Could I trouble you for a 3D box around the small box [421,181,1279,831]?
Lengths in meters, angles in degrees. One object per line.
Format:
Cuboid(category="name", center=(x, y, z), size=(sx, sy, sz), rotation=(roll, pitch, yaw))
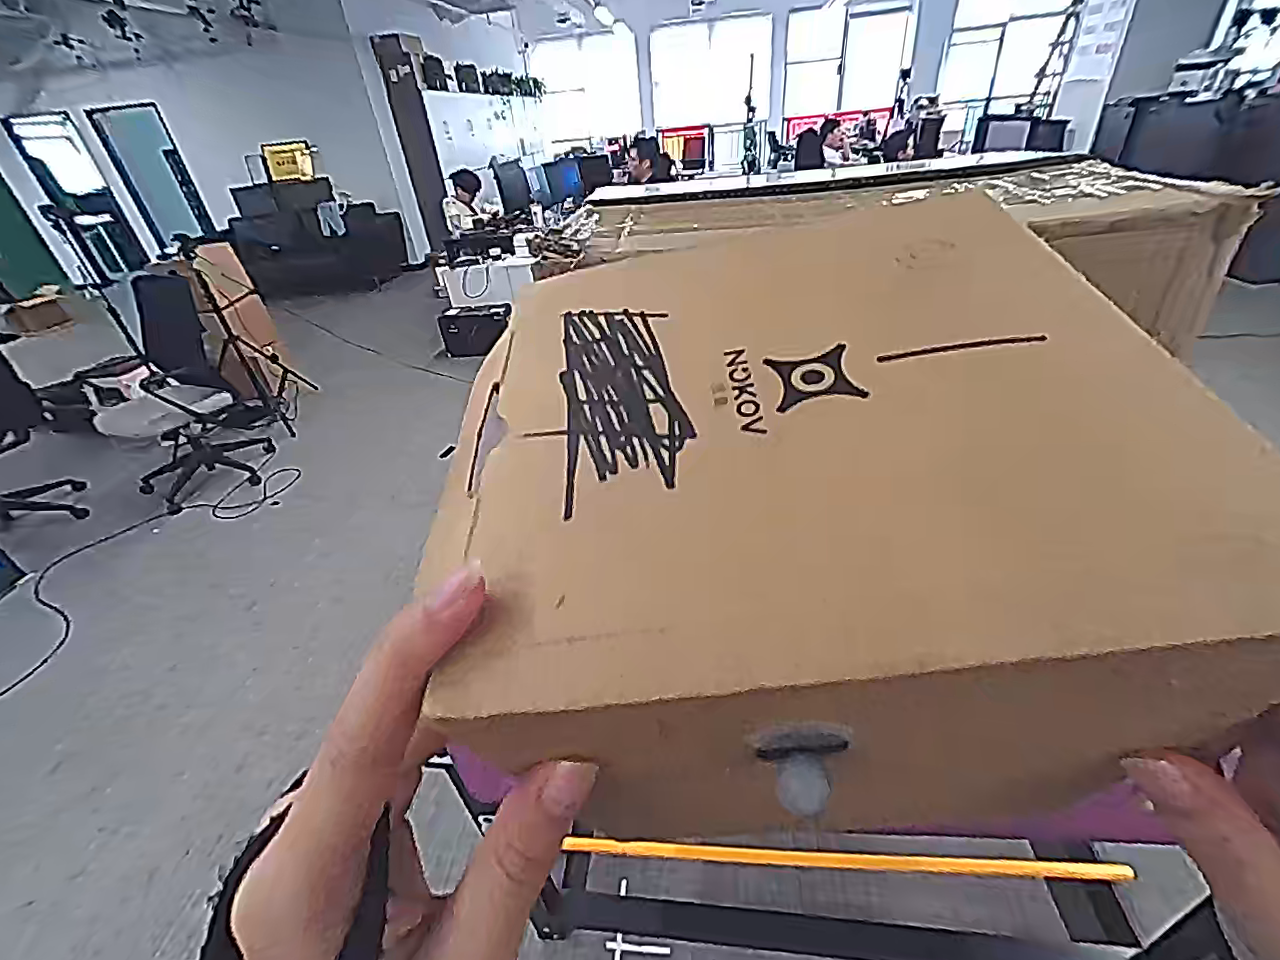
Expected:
Cuboid(category="small box", center=(0.055, 0.022, 0.205), size=(0.179, 0.176, 0.168), rotation=(-8, 49, 7))
